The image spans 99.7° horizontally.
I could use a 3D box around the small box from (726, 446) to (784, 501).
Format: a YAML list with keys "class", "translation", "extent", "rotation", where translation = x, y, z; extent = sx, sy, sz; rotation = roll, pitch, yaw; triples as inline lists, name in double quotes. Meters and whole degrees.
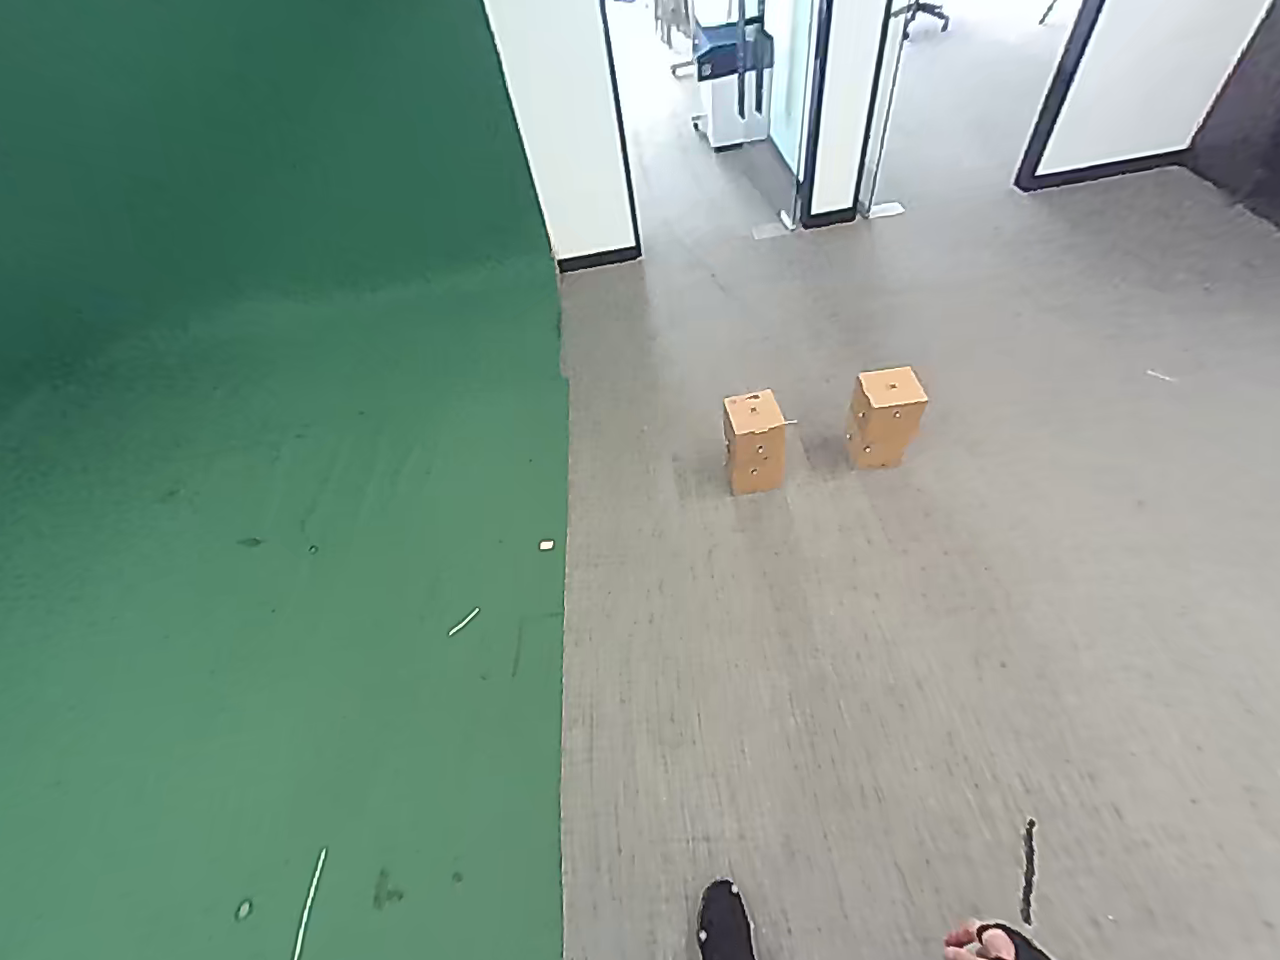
- class: "small box"
  translation: [0.412, -0.040, 1.962]
  extent: [0.179, 0.176, 0.168]
  rotation: [-8, 50, 2]

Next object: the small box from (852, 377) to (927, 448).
- class: "small box"
  translation: [0.830, -0.222, 1.825]
  extent: [0.179, 0.176, 0.168]
  rotation: [-7, 50, 3]

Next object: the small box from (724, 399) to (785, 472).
- class: "small box"
  translation: [0.387, -0.143, 1.838]
  extent: [0.168, 0.176, 0.179]
  rotation: [-11, 50, 0]
